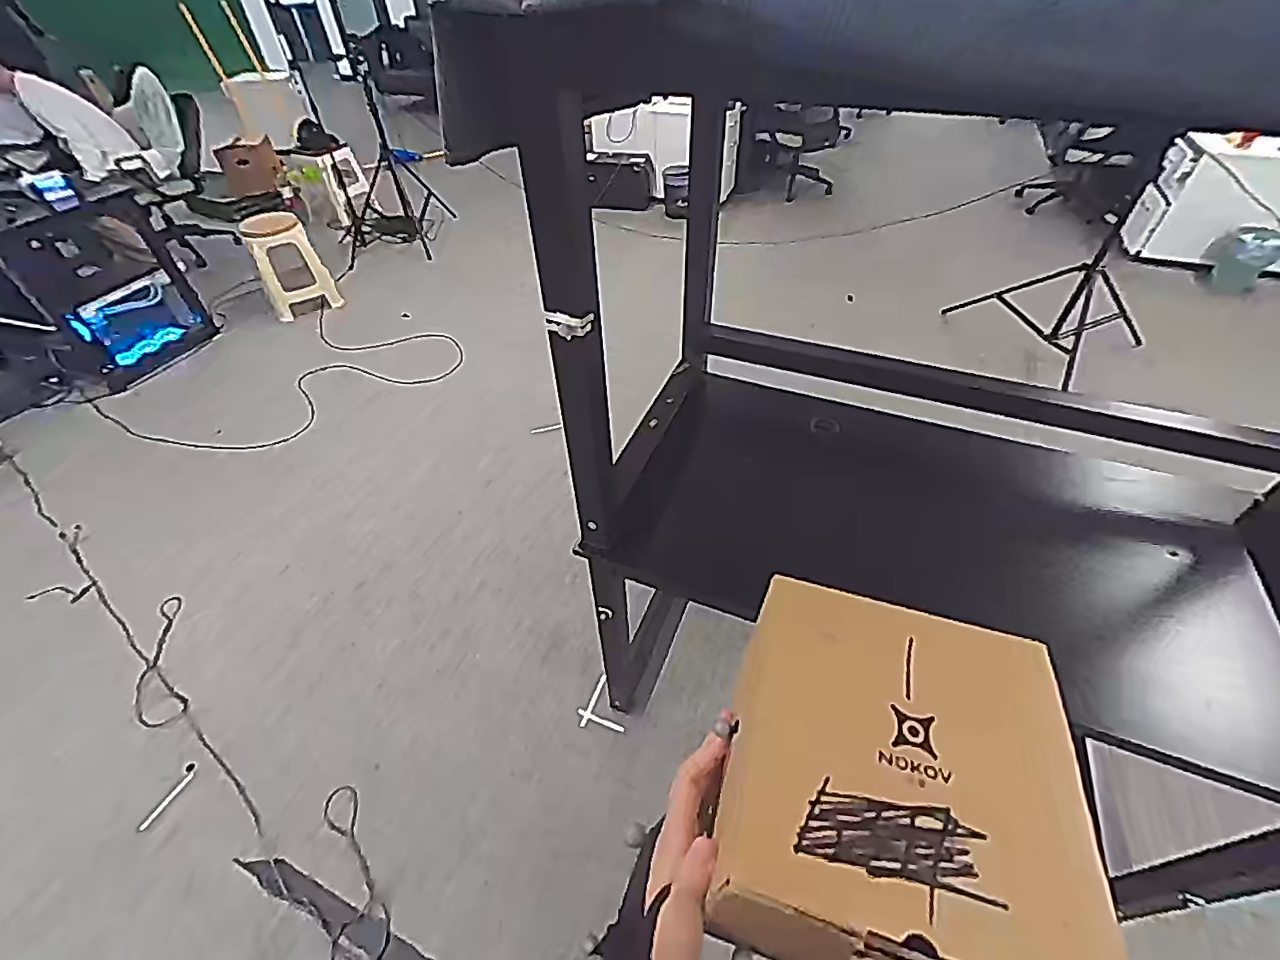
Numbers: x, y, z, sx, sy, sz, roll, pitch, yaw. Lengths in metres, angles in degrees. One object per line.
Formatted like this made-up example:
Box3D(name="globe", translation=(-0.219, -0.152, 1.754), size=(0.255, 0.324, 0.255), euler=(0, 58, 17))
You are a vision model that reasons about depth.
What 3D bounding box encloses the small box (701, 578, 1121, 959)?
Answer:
Box3D(name="small box", translation=(0.138, 0.196, 0.338), size=(0.168, 0.176, 0.179), euler=(14, 46, 11))
